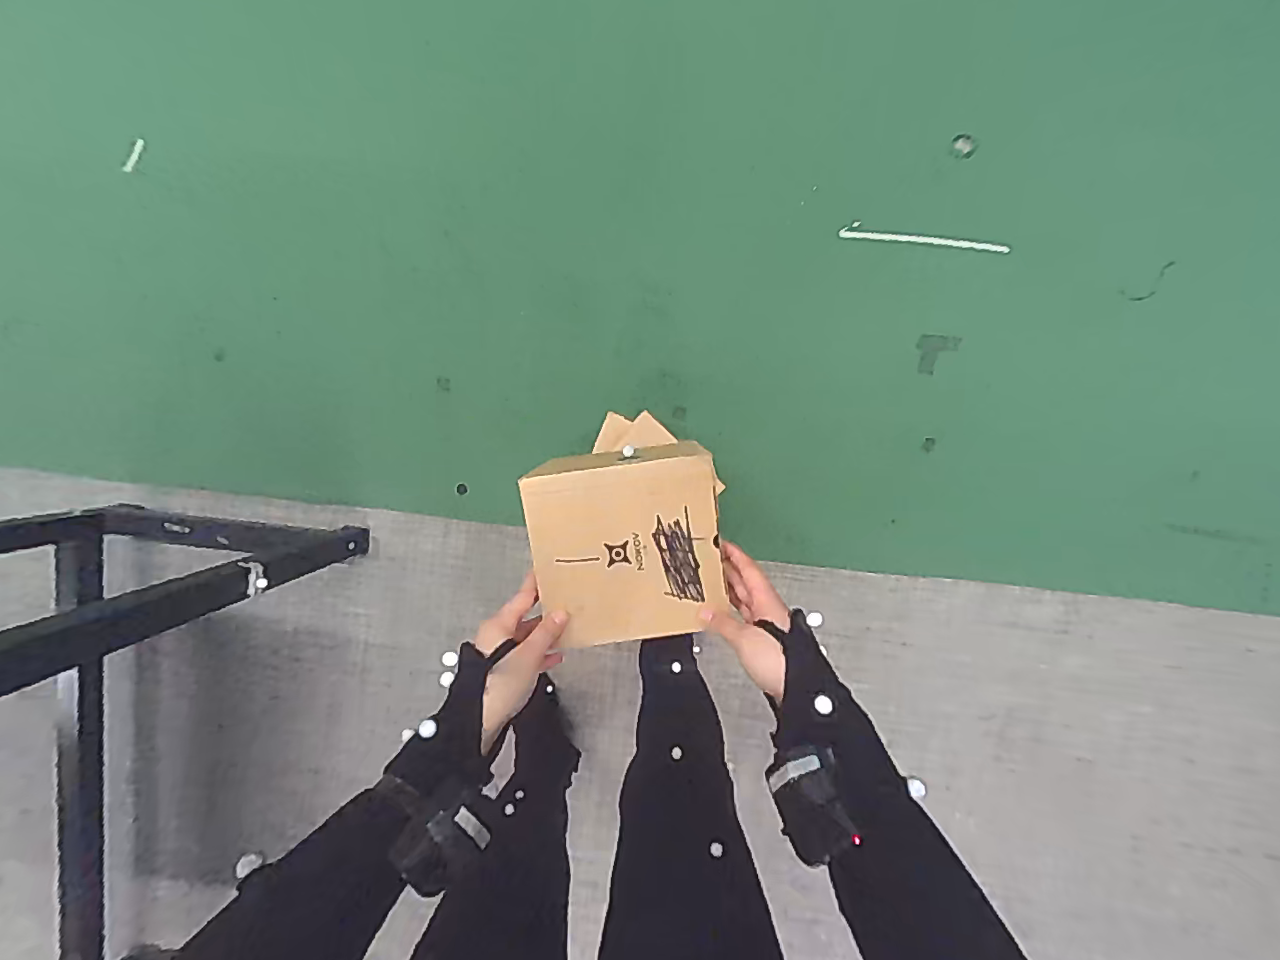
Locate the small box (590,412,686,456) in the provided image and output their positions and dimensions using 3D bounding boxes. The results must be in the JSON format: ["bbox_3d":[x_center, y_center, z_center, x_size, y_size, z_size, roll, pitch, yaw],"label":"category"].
[{"bbox_3d":[-0.009,-0.017,1.027,0.168,0.176,0.179,23,97,1],"label":"small box"}]

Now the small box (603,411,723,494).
[{"bbox_3d":[0.011,0.009,0.865,0.168,0.176,0.179,43,96,-2],"label":"small box"}]

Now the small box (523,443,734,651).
[{"bbox_3d":[-0.009,0.056,0.569,0.179,0.176,0.168,-8,98,2],"label":"small box"}]
